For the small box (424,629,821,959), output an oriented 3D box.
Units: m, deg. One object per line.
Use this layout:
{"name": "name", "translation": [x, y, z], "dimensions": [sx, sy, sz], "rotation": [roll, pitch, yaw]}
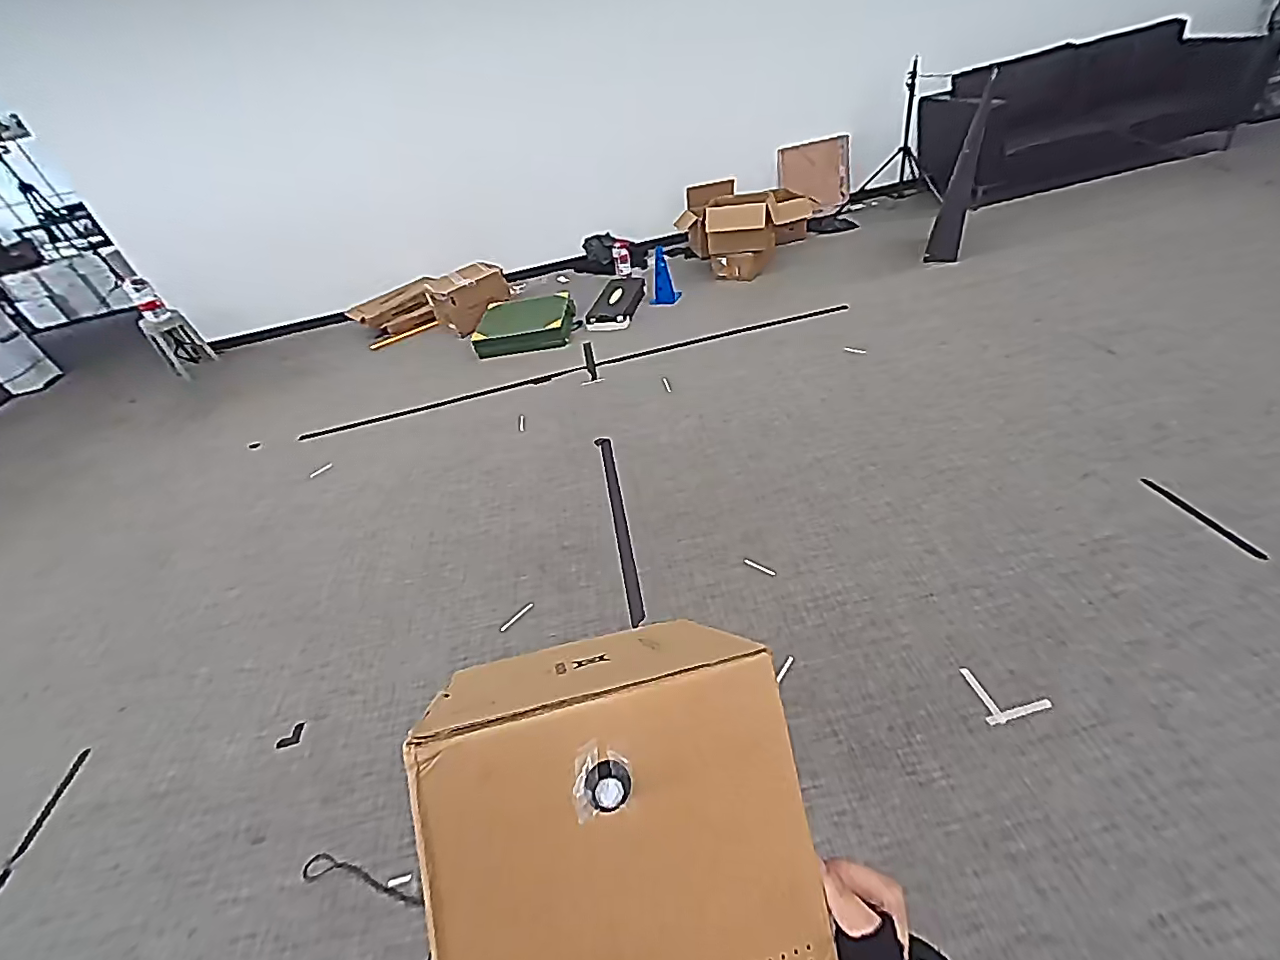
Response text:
{"name": "small box", "translation": [-0.015, 0.201, 0.333], "dimensions": [0.179, 0.168, 0.176], "rotation": [-9, 83, -12]}
